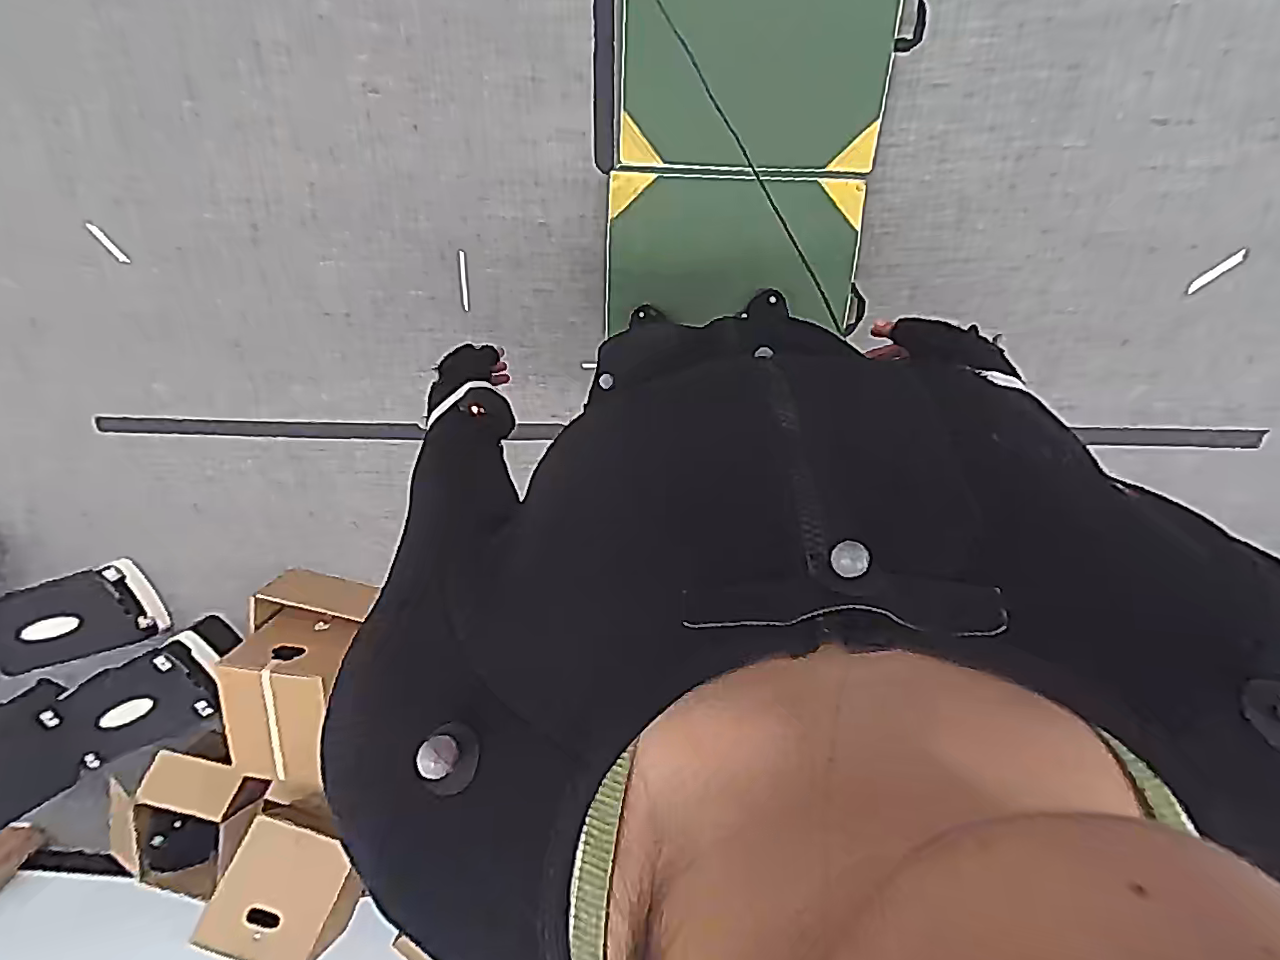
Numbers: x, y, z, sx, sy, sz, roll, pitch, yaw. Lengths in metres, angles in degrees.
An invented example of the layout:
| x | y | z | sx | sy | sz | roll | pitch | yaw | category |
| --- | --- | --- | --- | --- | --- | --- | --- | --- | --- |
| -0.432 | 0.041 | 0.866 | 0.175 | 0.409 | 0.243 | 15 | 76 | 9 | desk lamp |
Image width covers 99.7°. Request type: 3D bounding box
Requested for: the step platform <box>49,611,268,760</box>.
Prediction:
| x | y | z | sx | sy | sz | roll | pitch | yaw | category |
| --- | --- | --- | --- | --- | --- | --- | --- | --- | --- |
| -1.690 | 0.725 | 1.899 | 0.684 | 0.204 | 0.286 | -26 | 105 | 12 | step platform |
